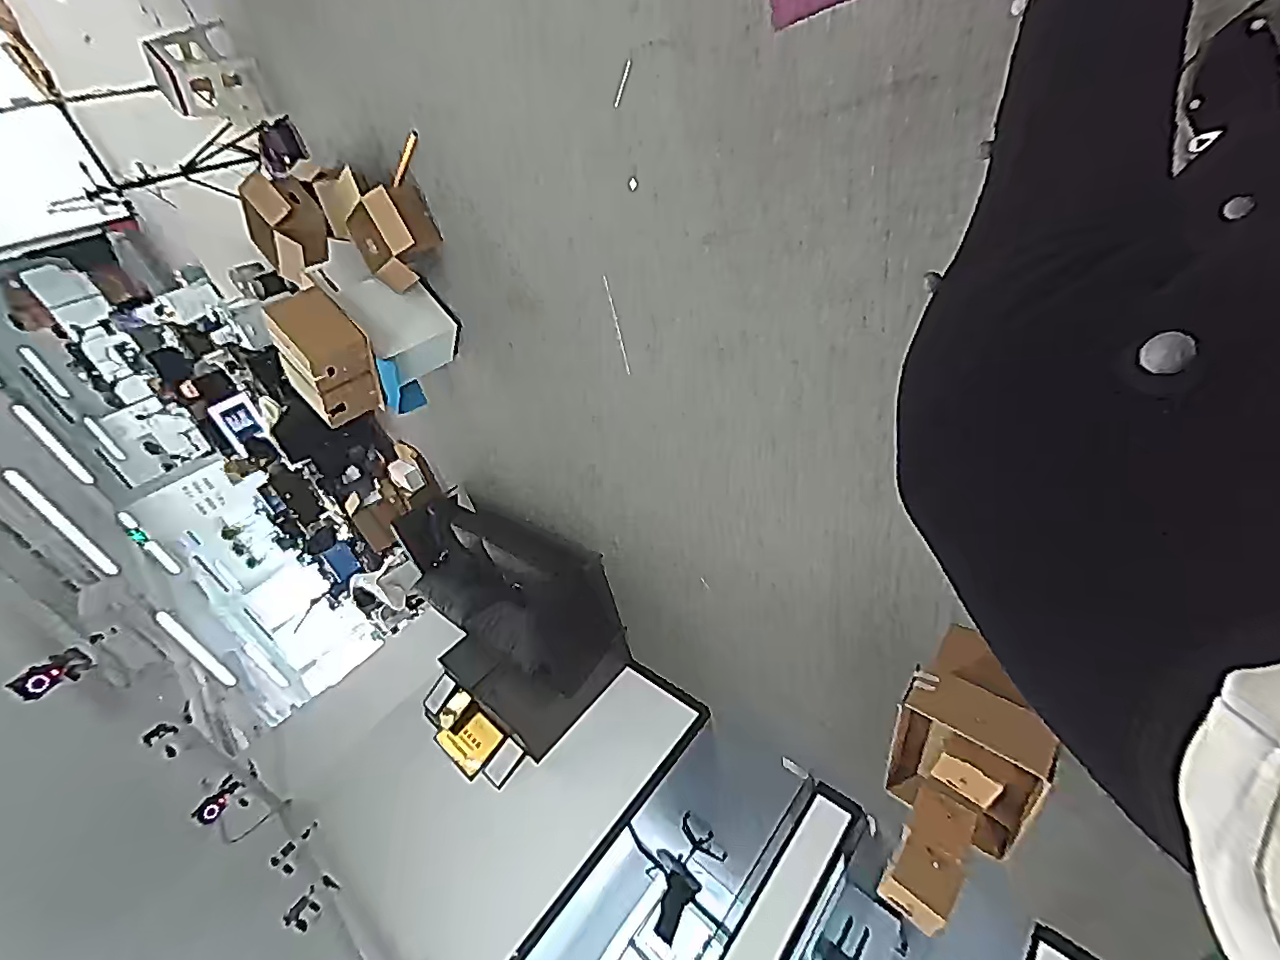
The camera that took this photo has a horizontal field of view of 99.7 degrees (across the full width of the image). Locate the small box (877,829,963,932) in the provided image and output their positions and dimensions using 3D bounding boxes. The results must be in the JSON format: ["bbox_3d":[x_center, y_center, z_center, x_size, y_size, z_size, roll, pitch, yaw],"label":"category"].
[{"bbox_3d":[0.854,1.215,1.647,0.168,0.176,0.179,28,139,31],"label":"small box"}]

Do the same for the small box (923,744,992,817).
[{"bbox_3d":[1.063,1.042,1.827,0.168,0.176,0.179,20,135,37],"label":"small box"}]

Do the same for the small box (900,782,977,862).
[{"bbox_3d":[0.957,1.124,1.737,0.168,0.176,0.179,20,135,39],"label":"small box"}]
